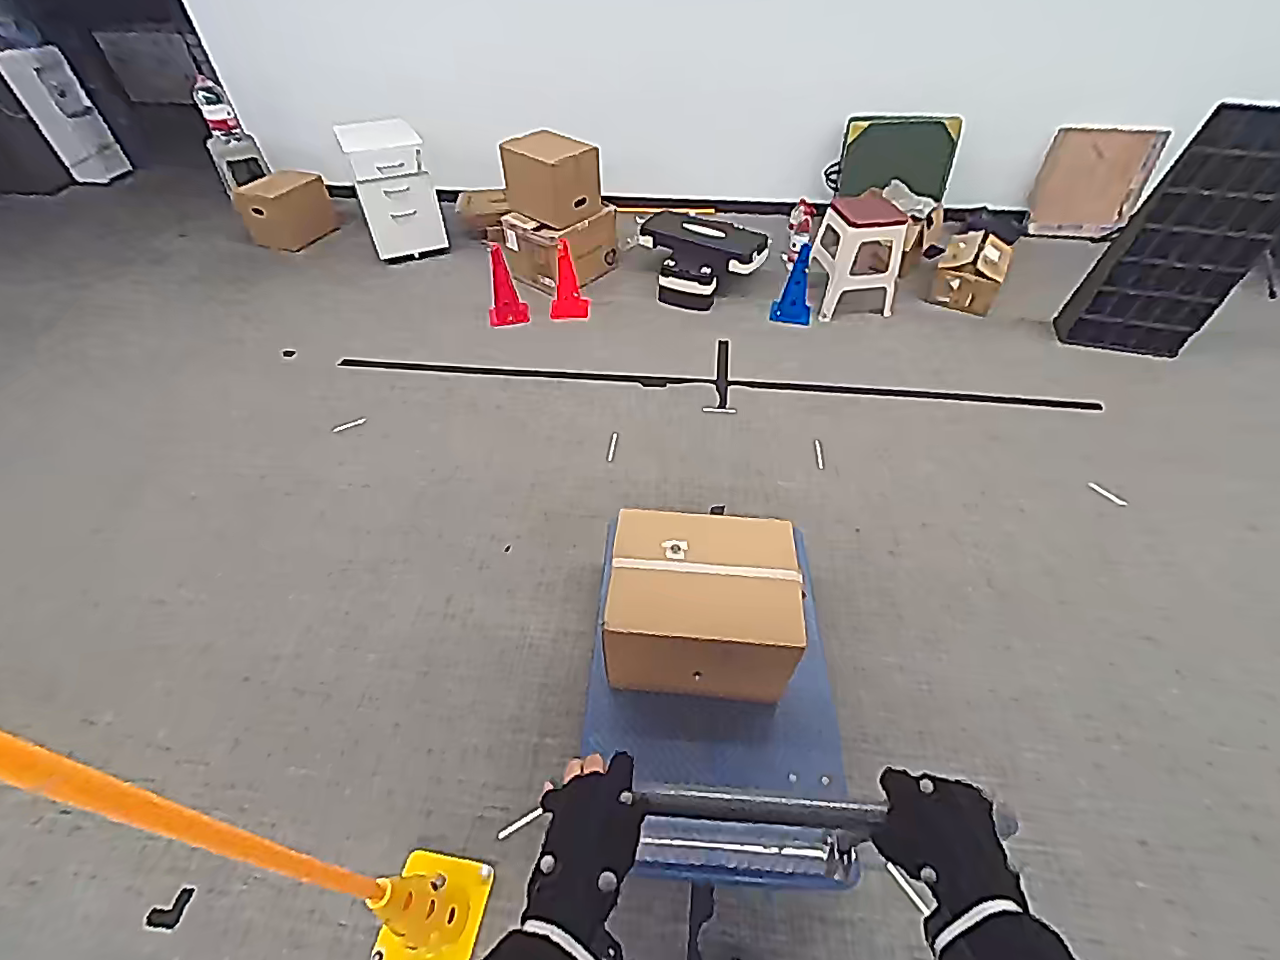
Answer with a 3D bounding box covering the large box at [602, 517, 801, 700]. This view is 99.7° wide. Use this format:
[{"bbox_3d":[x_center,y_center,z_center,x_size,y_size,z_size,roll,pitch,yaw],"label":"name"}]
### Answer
[{"bbox_3d":[0.137,0.309,1.284,0.408,0.320,0.320,3,48,4],"label":"large box"}]
